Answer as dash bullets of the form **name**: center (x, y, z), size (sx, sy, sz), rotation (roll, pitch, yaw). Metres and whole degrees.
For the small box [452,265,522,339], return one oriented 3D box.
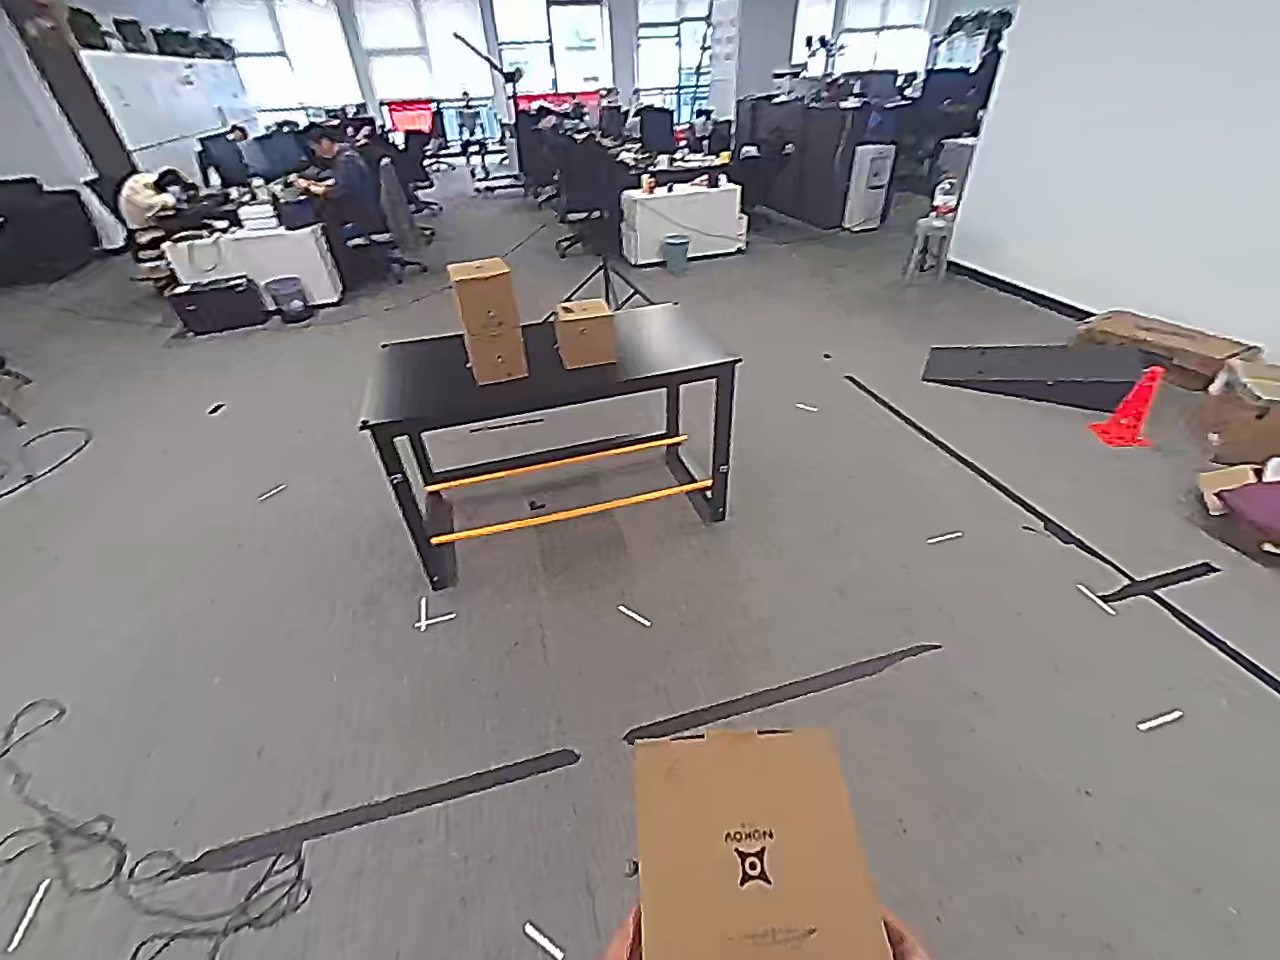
- **small box**: center (-0.475, -0.554, 1.680), size (0.168, 0.176, 0.179), rotation (-16, 39, -16)

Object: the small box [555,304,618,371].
- **small box**: center (-0.181, -0.483, 1.839), size (0.179, 0.176, 0.168), rotation (-11, 38, -12)

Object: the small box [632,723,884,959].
- **small box**: center (0.079, 0.327, 0.458), size (0.168, 0.176, 0.179), rotation (-4, 48, 0)

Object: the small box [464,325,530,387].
- **small box**: center (-0.467, -0.419, 1.777), size (0.168, 0.176, 0.179), rotation (-15, 39, -15)
